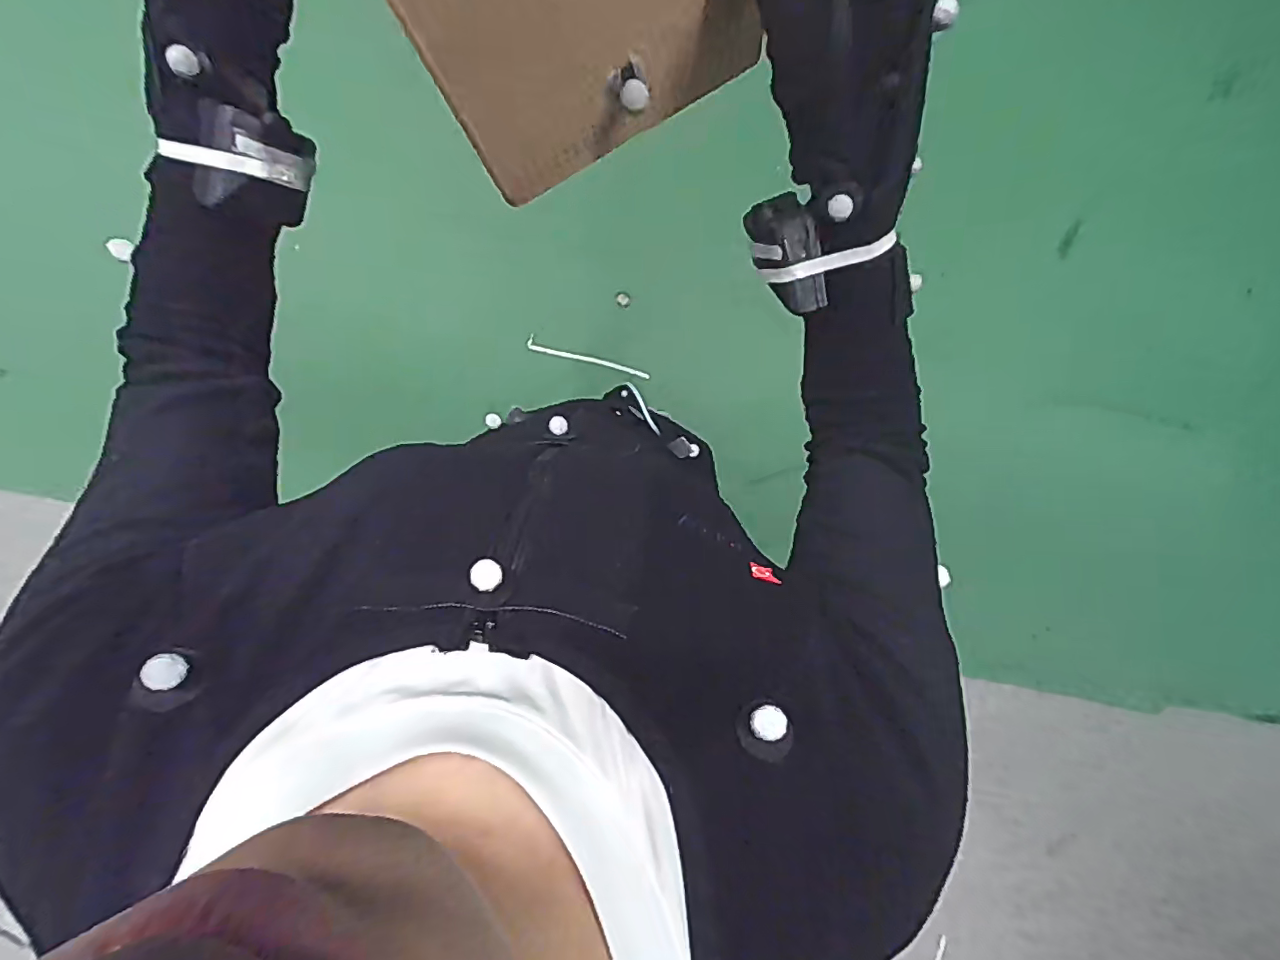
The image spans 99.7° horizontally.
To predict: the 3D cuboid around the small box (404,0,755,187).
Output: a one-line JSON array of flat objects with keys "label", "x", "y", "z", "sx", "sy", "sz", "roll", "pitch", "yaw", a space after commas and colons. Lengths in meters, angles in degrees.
[{"label": "small box", "x": -0.047, "y": -0.296, "z": 0.266, "sx": 0.179, "sy": 0.176, "sz": 0.168, "roll": -30, "pitch": 80, "yaw": 2}]
